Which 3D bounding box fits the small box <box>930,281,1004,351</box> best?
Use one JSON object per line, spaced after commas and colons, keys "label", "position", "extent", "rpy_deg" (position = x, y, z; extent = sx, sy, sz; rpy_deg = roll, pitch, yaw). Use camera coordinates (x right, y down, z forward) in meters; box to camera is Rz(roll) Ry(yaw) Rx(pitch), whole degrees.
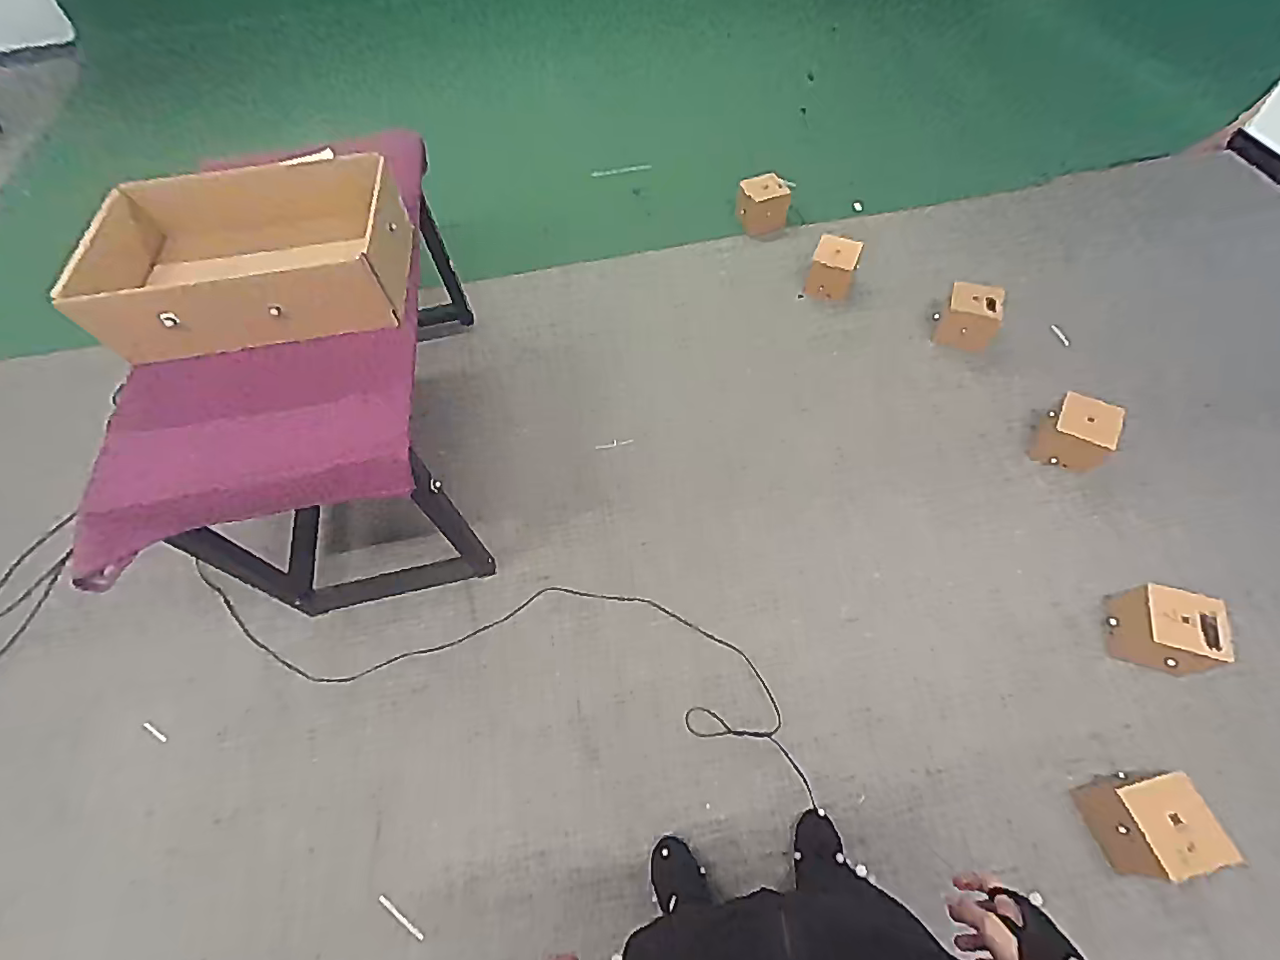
{"label": "small box", "position": [1.220, -0.607, 2.022], "extent": [0.179, 0.176, 0.168], "rpy_deg": [17, 62, 13]}

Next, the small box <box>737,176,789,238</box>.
{"label": "small box", "position": [0.544, -1.220, 2.425], "extent": [0.179, 0.176, 0.168], "rpy_deg": [-20, 60, -8]}

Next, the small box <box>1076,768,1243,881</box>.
{"label": "small box", "position": [1.150, 0.769, 1.218], "extent": [0.168, 0.176, 0.179], "rpy_deg": [-14, 60, -4]}

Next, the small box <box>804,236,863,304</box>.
{"label": "small box", "position": [0.779, -0.849, 2.194], "extent": [0.168, 0.176, 0.179], "rpy_deg": [20, 64, 15]}
